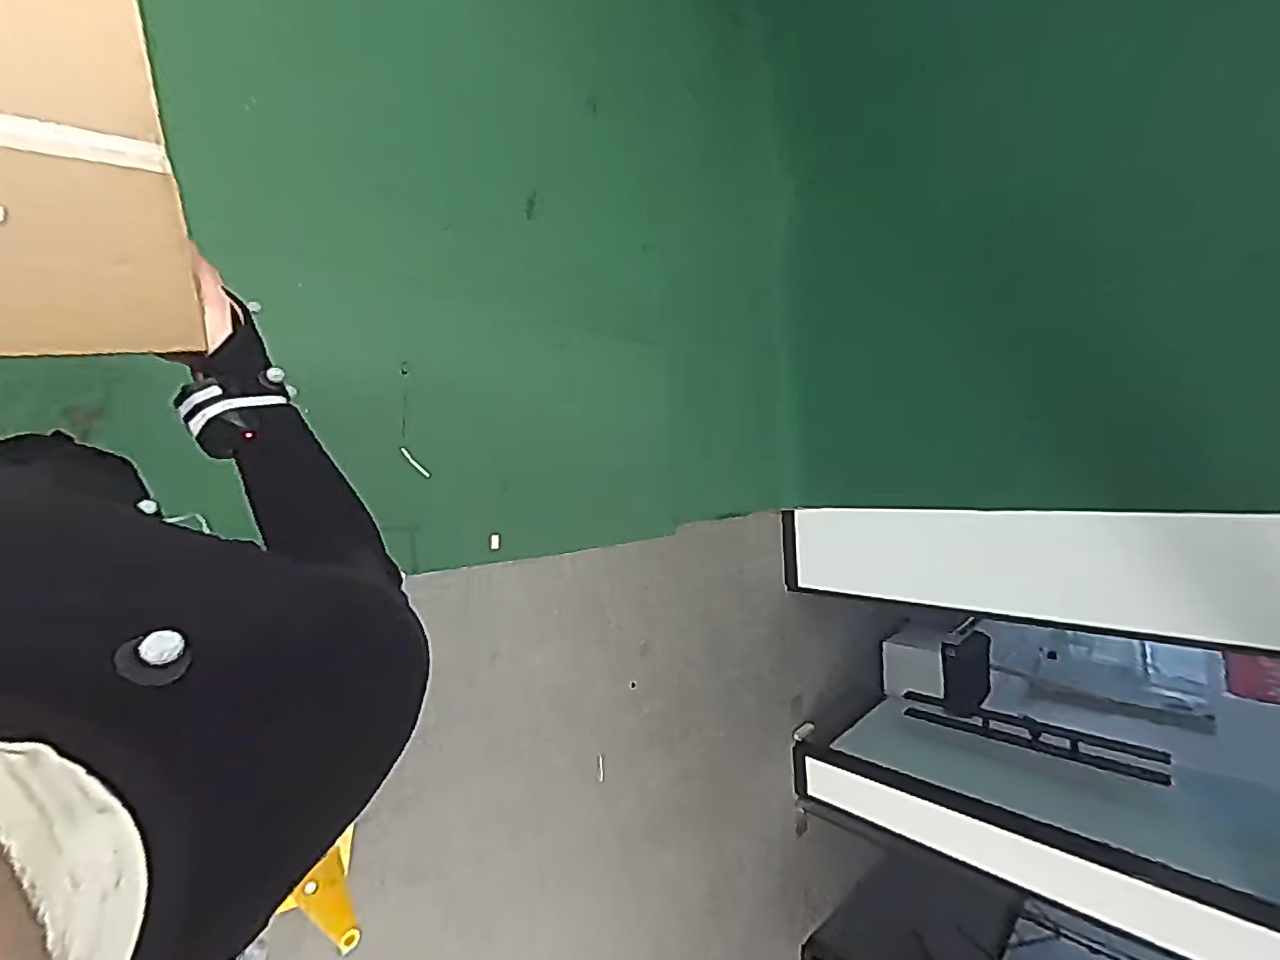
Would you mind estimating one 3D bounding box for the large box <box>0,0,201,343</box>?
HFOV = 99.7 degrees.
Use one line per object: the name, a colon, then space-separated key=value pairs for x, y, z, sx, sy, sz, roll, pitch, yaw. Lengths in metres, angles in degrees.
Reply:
large box: x=-0.644 y=-0.266 z=0.393 sx=0.408 sy=0.320 sz=0.320 roll=-20 pitch=119 yaw=-50
